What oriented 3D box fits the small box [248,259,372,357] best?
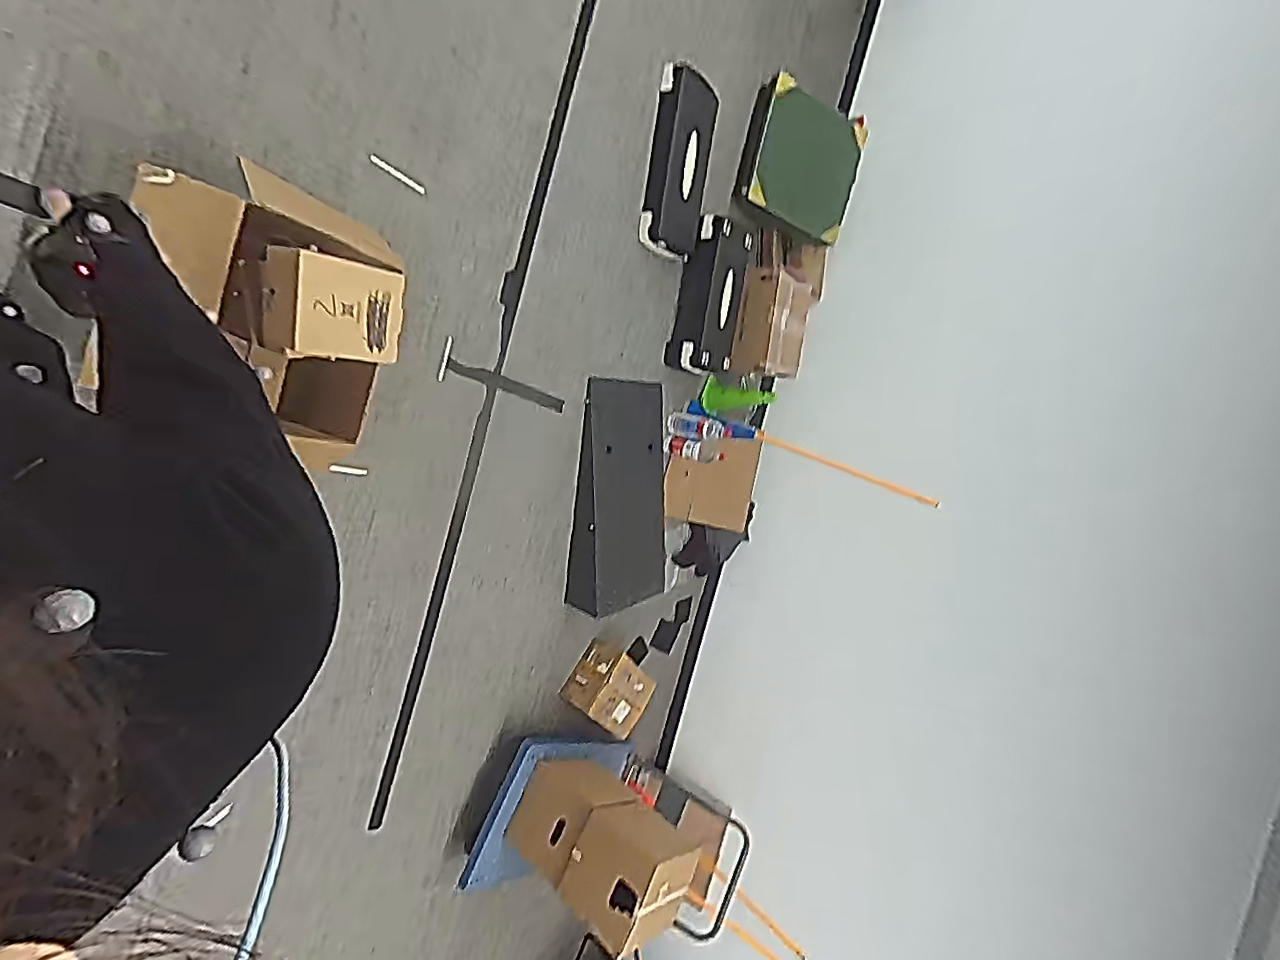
[{"bbox_3d":[-0.676,-0.354,1.110,0.168,0.176,0.179,-17,120,-46],"label":"small box"}]
